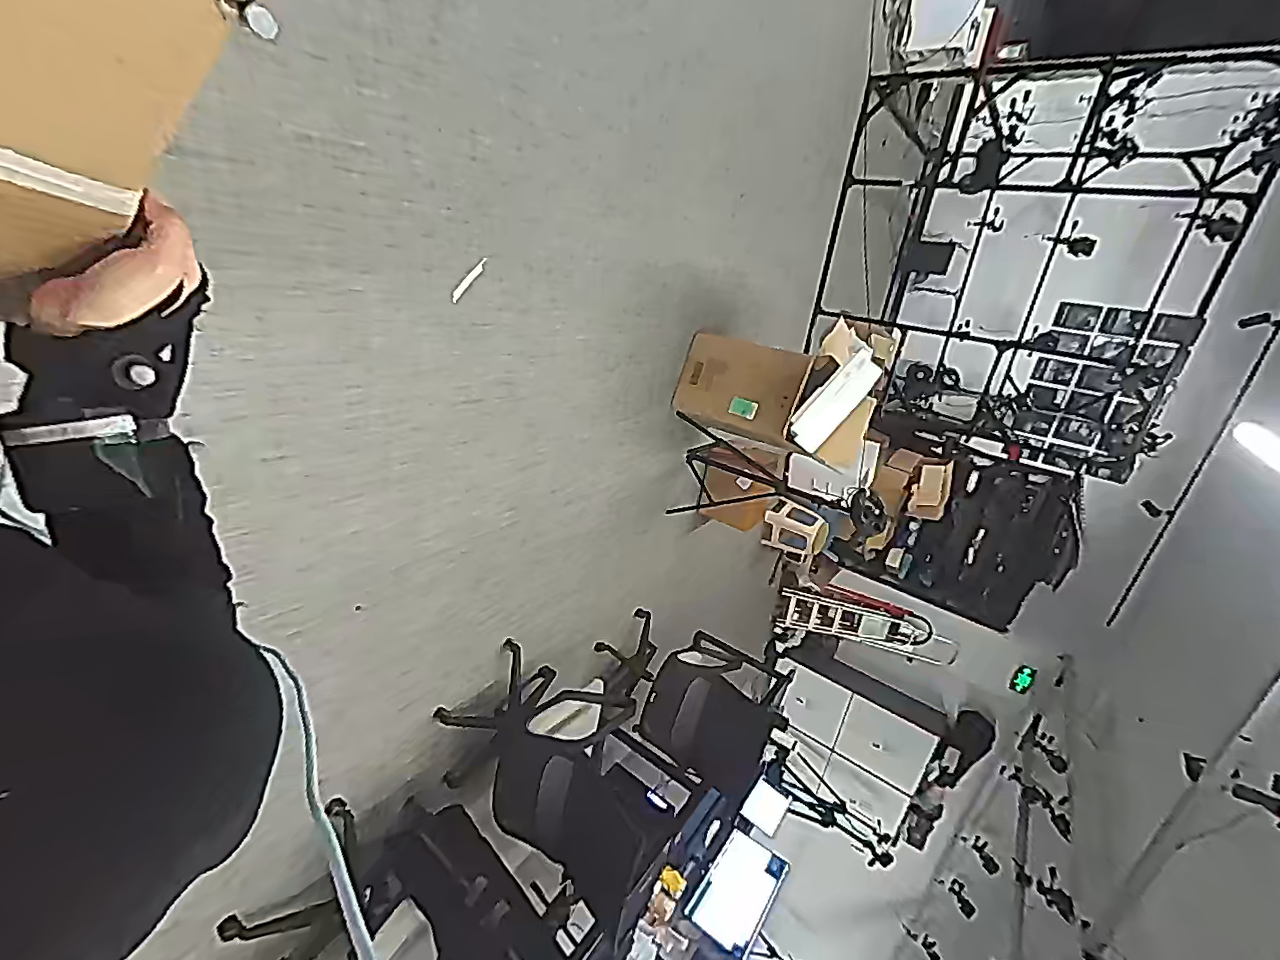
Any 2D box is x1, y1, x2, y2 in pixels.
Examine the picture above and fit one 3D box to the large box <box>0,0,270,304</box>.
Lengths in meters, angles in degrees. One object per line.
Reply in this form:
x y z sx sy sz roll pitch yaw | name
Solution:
-0.416 -0.317 0.167 0.408 0.320 0.320 1 69 -59 | large box
